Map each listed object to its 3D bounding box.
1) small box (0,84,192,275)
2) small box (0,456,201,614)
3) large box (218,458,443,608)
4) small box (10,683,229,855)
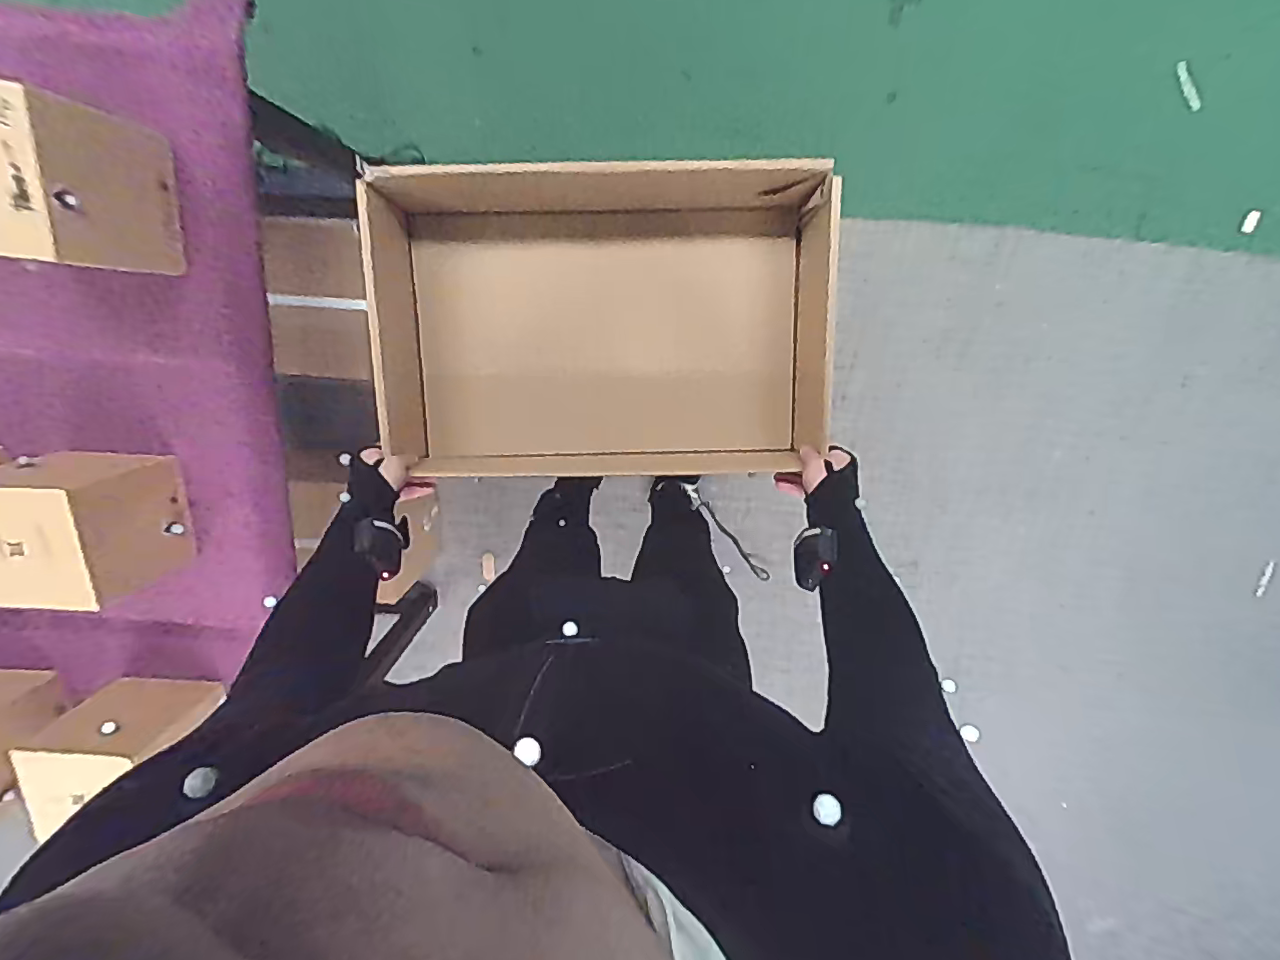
[{"bbox_3d":[-0.680,-0.338,0.628,0.179,0.176,0.168,7,107,1],"label":"small box"},{"bbox_3d":[-0.762,0.065,0.740,0.179,0.176,0.168,3,106,0],"label":"small box"},{"bbox_3d":[-0.787,0.124,1.440,0.408,0.320,0.320,2,104,1],"label":"large box"},{"bbox_3d":[-0.779,0.437,0.837,0.179,0.176,0.168,3,104,1],"label":"small box"}]
